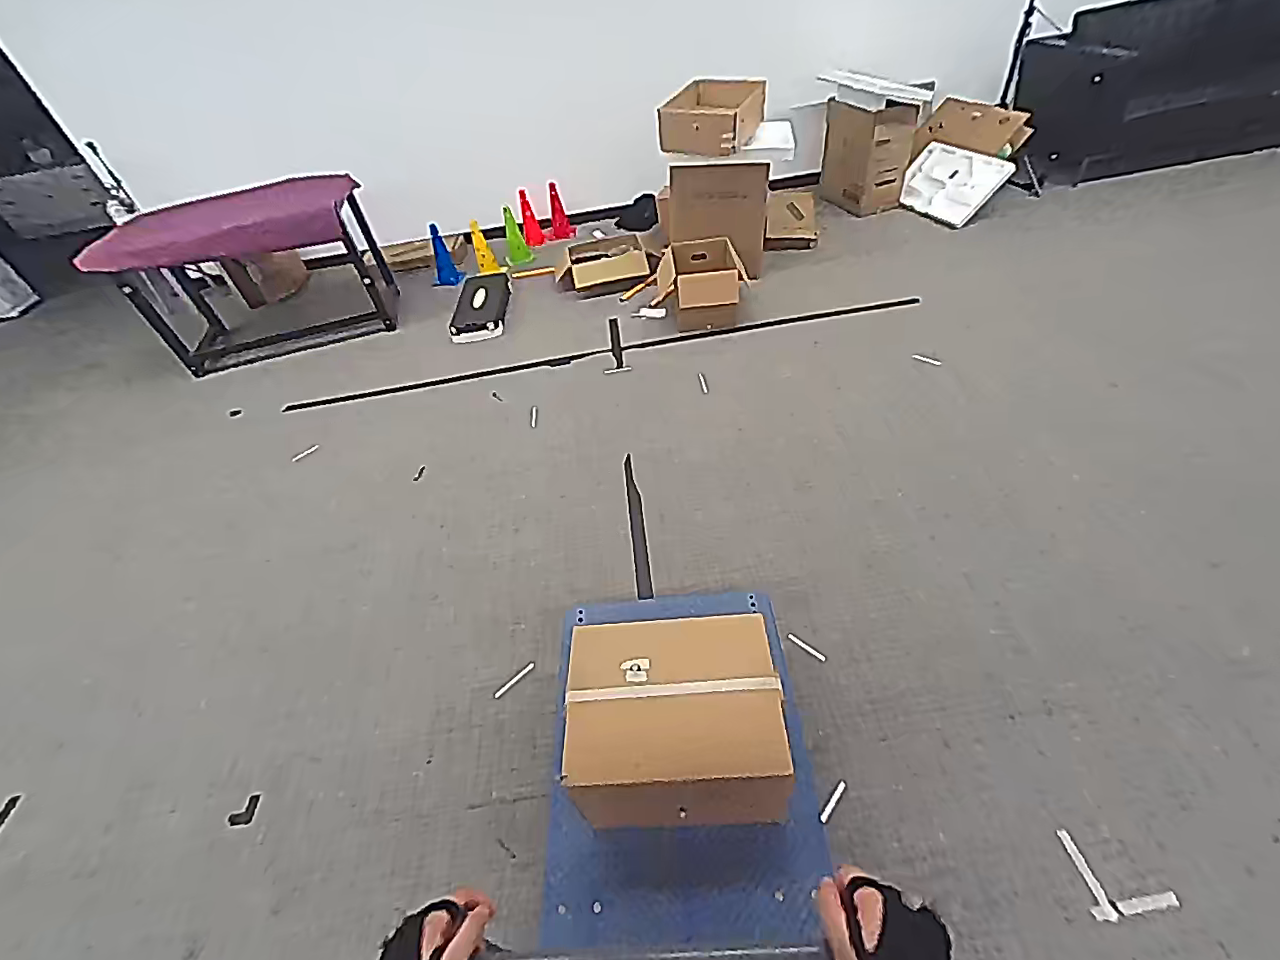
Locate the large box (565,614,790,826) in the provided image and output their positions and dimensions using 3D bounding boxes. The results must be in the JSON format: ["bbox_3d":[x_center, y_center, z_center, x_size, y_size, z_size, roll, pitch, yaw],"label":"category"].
[{"bbox_3d":[0.080,0.517,1.153,0.408,0.320,0.320,-6,44,5],"label":"large box"}]
